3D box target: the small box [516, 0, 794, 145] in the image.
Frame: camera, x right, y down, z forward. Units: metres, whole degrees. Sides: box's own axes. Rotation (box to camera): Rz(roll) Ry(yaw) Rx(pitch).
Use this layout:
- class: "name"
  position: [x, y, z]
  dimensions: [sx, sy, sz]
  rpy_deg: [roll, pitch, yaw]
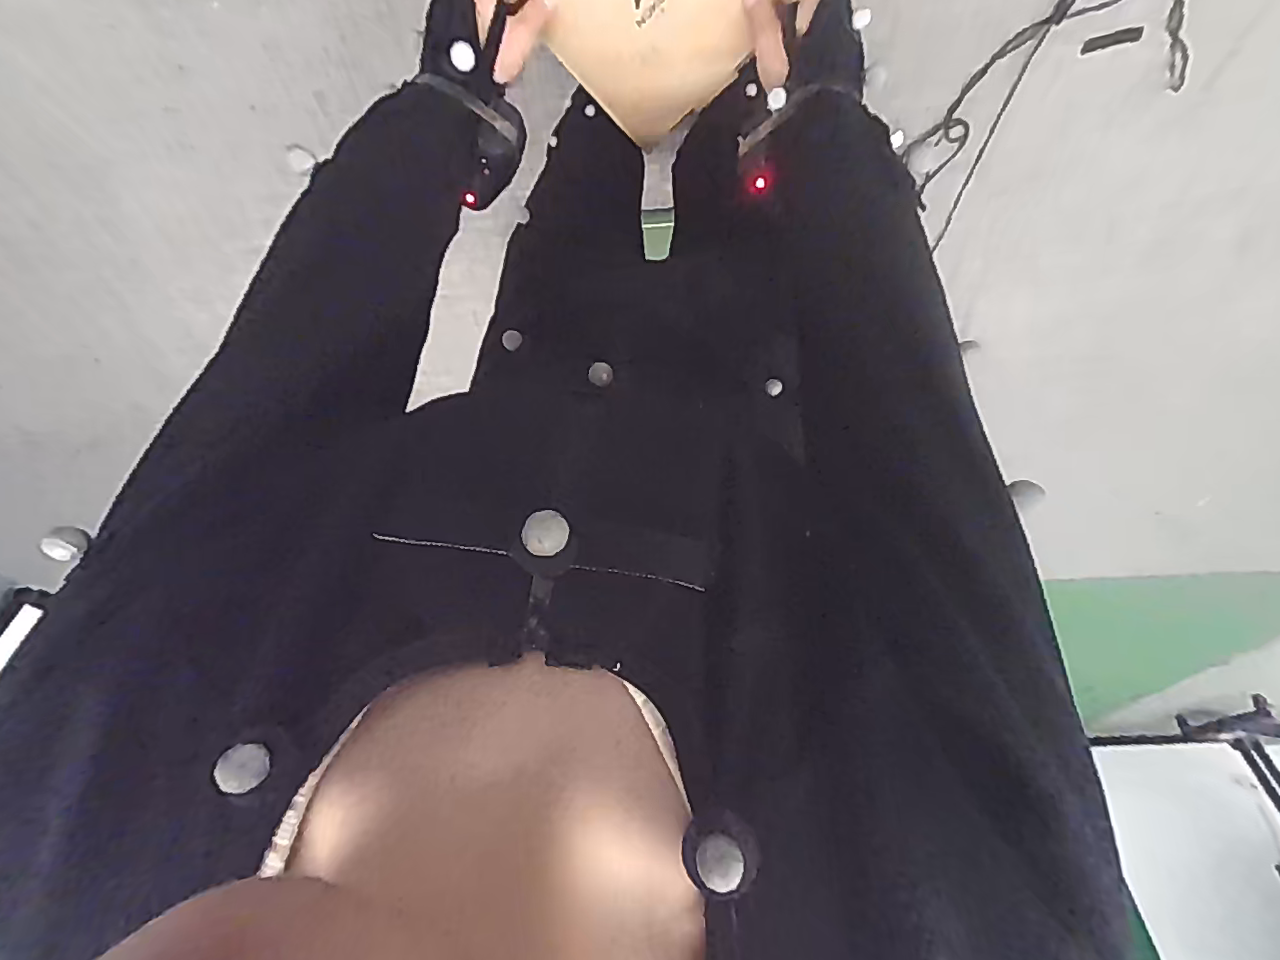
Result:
- class: "small box"
  position: [0.013, -0.447, 0.456]
  dimensions: [0.168, 0.176, 0.179]
  rpy_deg: [-23, 138, 39]
